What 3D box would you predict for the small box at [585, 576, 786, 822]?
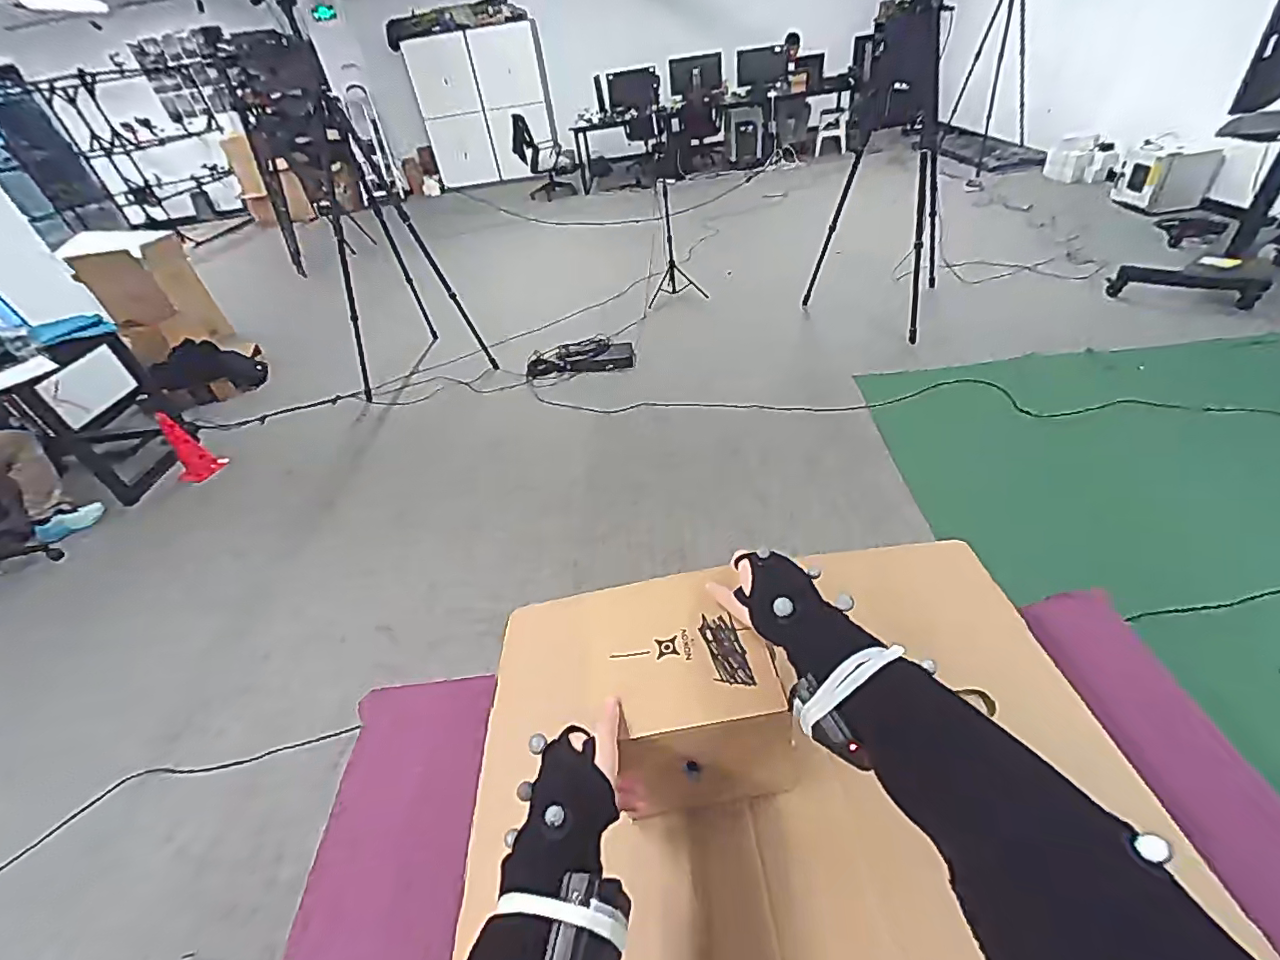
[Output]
[{"bbox_3d":[0.047,0.232,0.574,0.179,0.176,0.168,-13,38,3],"label":"small box"}]
